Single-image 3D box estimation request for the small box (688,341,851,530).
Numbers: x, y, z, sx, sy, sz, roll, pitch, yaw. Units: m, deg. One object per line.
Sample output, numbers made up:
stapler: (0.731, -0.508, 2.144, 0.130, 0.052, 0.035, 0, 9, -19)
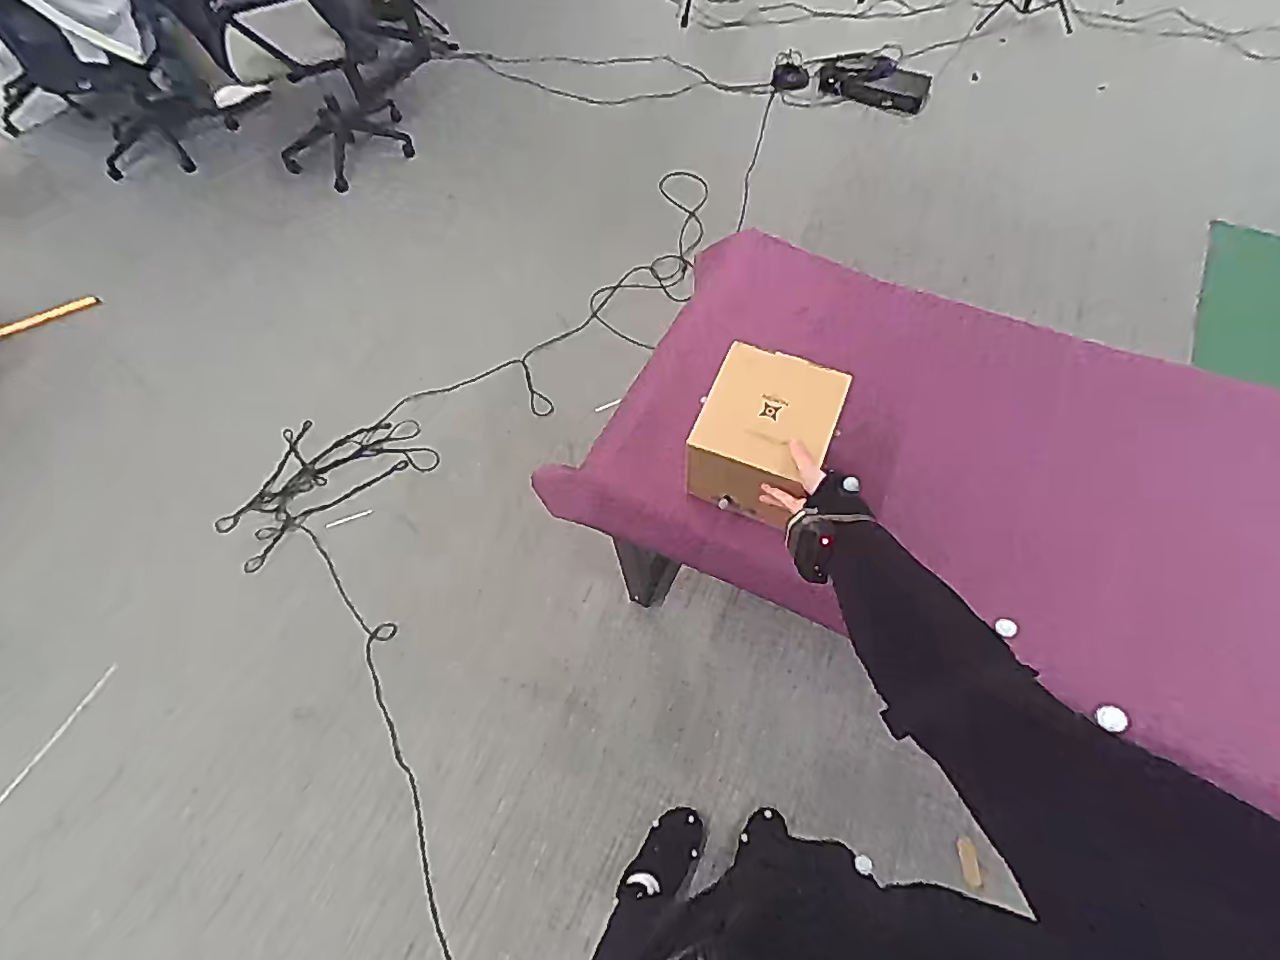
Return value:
small box: (0.172, -0.057, 0.763, 0.168, 0.176, 0.179, 22, 69, 13)
